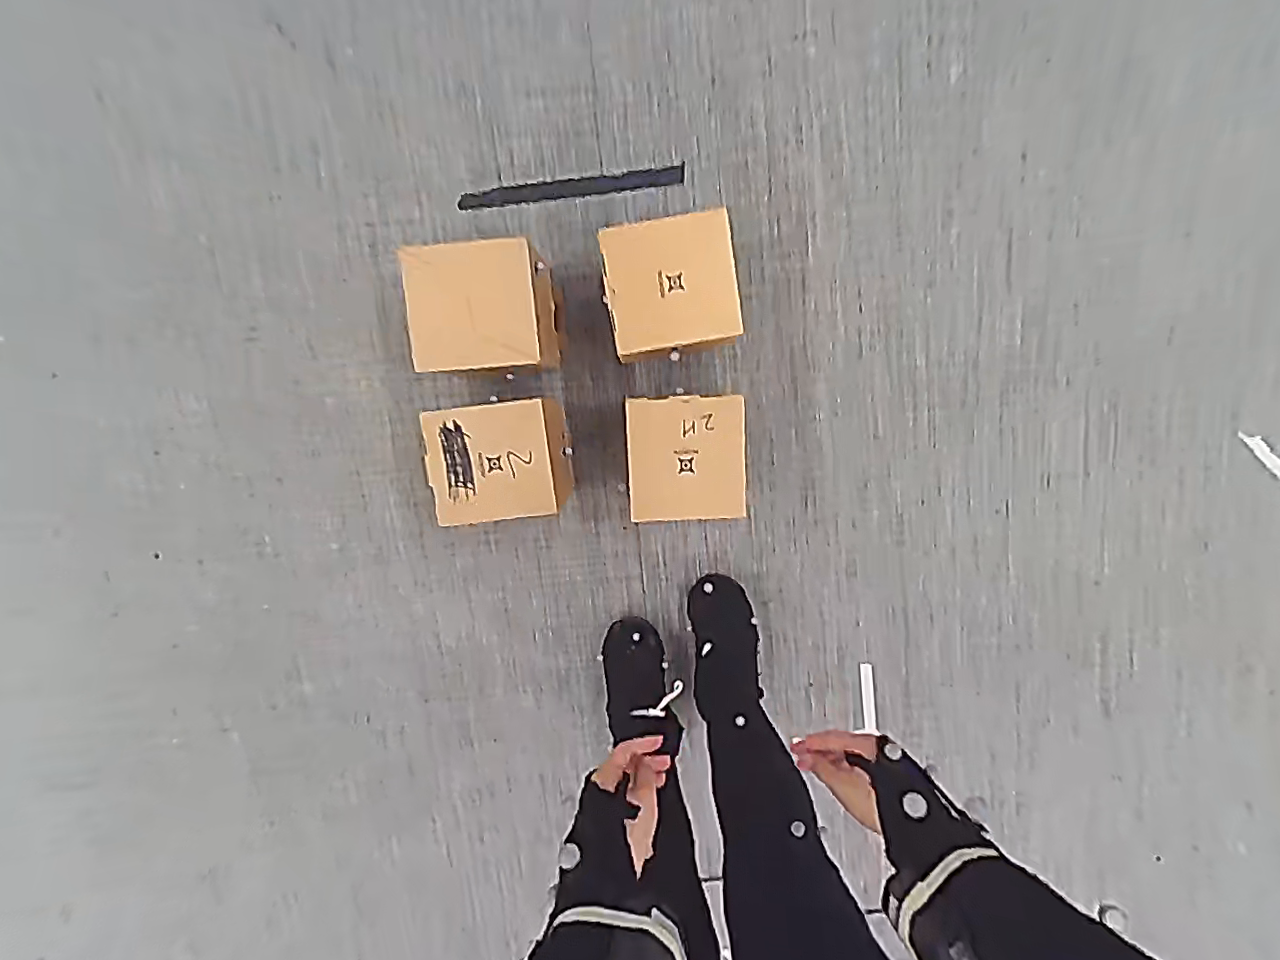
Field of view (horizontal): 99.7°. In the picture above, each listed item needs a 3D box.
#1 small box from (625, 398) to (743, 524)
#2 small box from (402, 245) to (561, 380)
[{"bbox_3d":[0.065,-0.037,0.839,0.168,0.176,0.179,-2,98,0],"label":"small box"},{"bbox_3d":[-0.226,-0.242,0.811,0.179,0.176,0.168,-4,98,1],"label":"small box"}]
